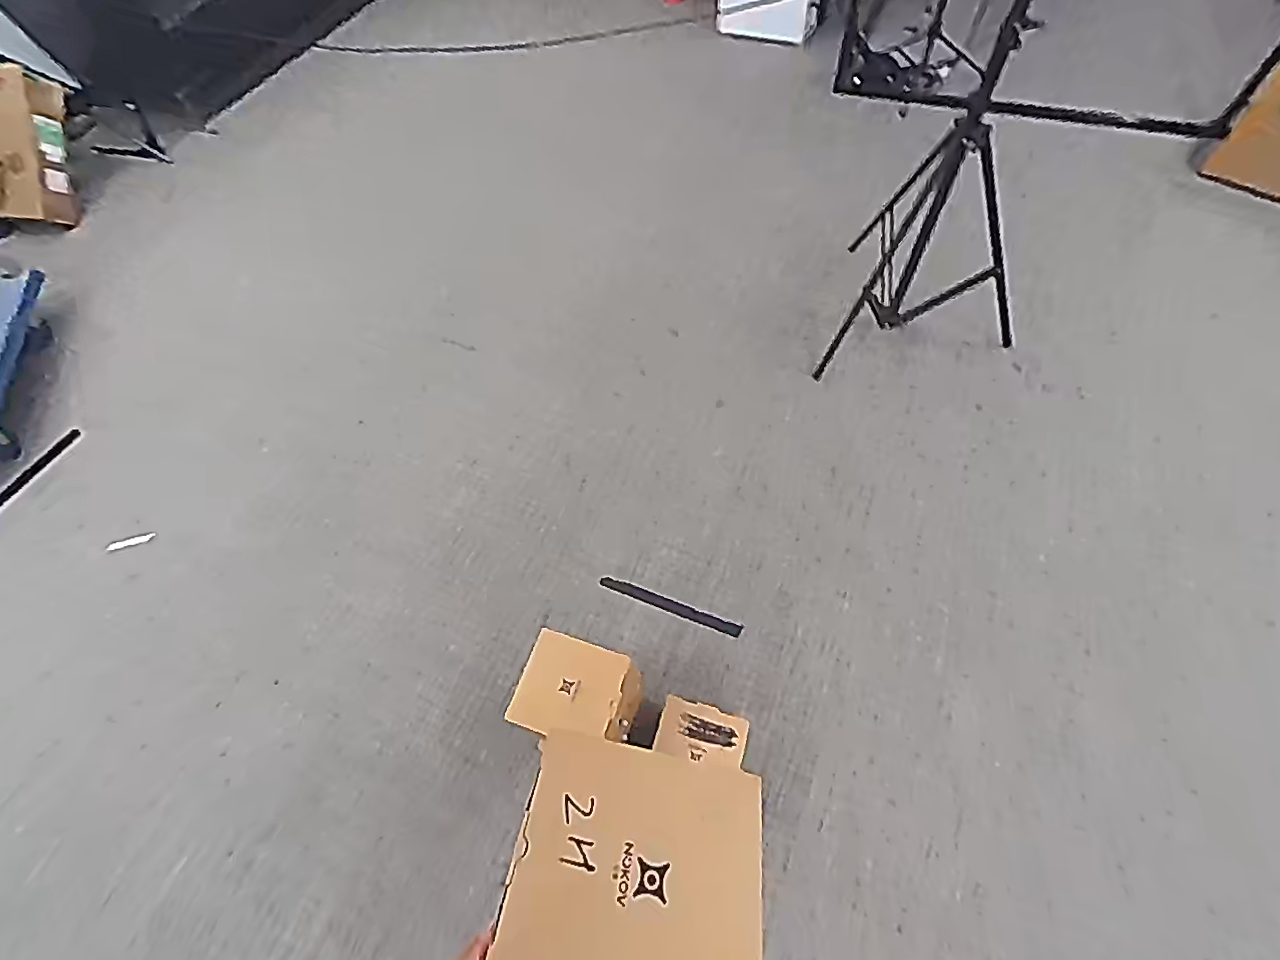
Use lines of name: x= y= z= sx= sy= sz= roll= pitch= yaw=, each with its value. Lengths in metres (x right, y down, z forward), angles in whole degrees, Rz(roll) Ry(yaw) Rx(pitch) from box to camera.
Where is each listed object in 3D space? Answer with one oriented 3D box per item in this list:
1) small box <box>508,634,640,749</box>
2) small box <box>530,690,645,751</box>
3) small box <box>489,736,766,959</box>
small box: x=-0.110 y=0.406 z=0.990 sx=0.179 sy=0.176 sz=0.168 roll=14 pitch=61 yaw=13
small box: x=-0.097 y=0.497 z=1.124 sx=0.168 sy=0.176 sz=0.179 roll=21 pitch=62 yaw=17
small box: x=-0.012 y=0.330 z=0.421 sx=0.179 sy=0.176 sz=0.168 roll=13 pitch=43 yaw=0
